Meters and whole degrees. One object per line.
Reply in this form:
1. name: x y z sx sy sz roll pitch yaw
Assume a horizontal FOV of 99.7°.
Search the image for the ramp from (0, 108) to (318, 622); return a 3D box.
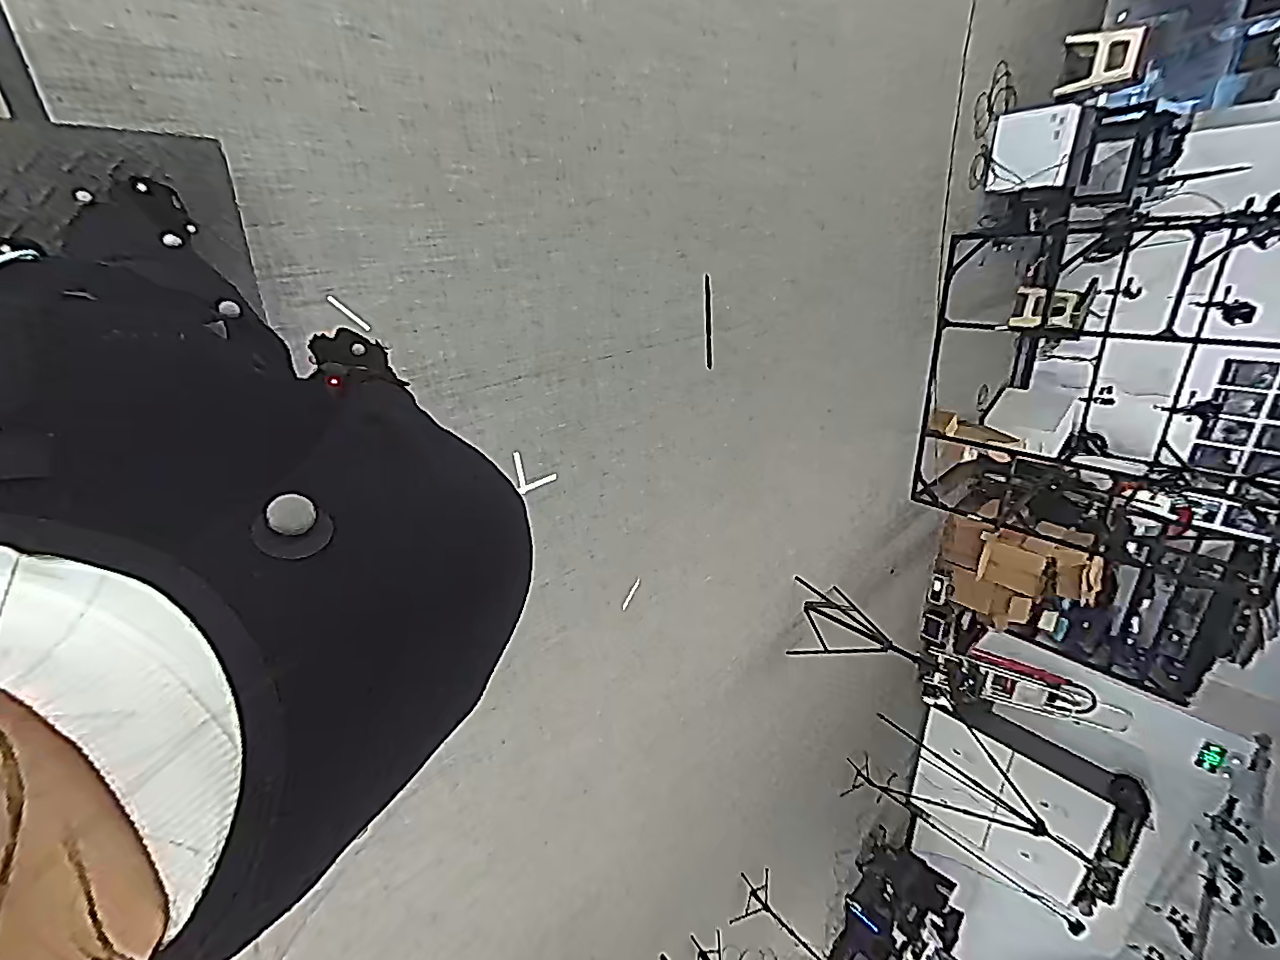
1. ramp: -1.032 -0.168 1.118 0.509 0.206 0.991 -23 121 -37
